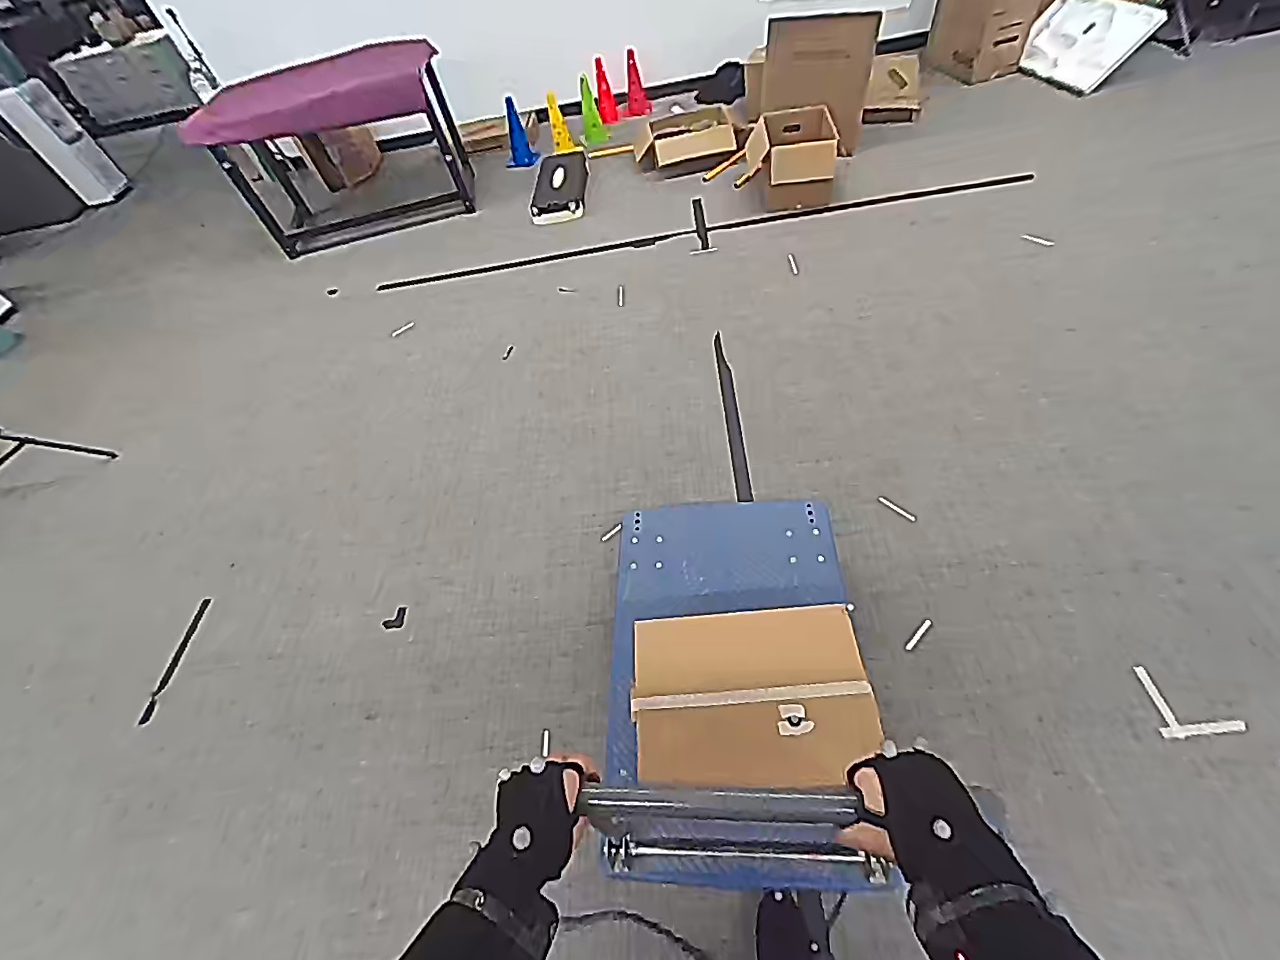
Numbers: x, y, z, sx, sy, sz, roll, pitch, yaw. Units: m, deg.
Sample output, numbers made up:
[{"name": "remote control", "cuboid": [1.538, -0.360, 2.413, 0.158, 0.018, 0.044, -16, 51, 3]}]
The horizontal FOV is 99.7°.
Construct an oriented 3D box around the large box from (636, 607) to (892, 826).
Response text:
[{"name": "large box", "cuboid": [0.214, 0.476, 1.069, 0.408, 0.320, 0.320, -6, 53, 5]}]
